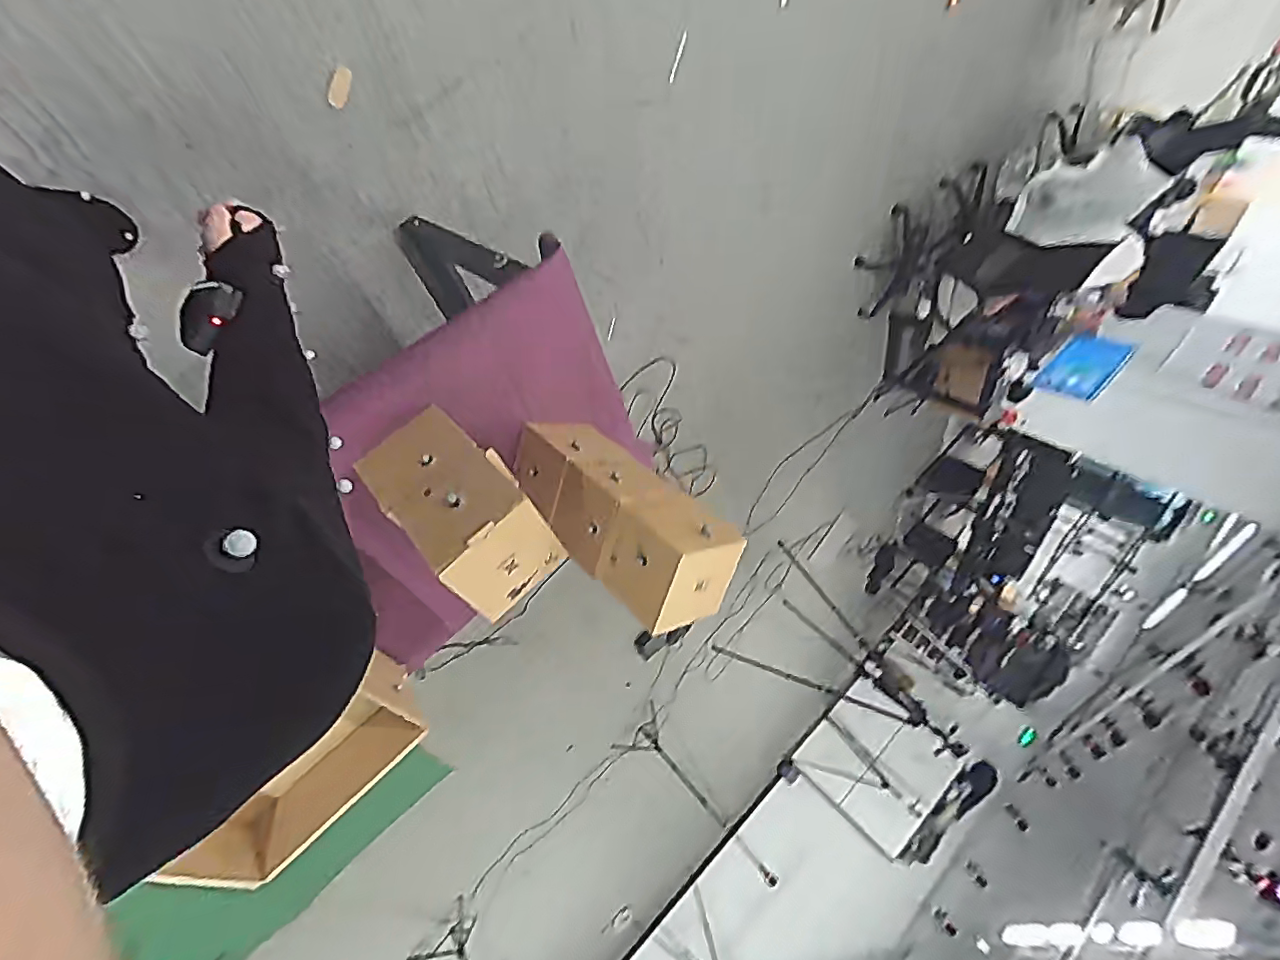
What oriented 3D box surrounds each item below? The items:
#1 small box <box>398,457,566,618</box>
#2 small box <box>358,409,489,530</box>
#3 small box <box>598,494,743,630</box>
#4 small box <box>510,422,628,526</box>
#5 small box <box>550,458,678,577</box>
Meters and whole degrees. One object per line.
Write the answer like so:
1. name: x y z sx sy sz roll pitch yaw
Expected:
1. small box: -0.256 0.085 0.879 0.168 0.176 0.179 -42 142 -15
2. small box: -0.364 0.003 0.971 0.179 0.176 0.168 -43 143 -14
3. small box: 0.049 0.139 0.985 0.179 0.176 0.168 -6 122 -44
4. small box: -0.161 -0.018 1.176 0.179 0.176 0.168 -4 122 -45
5. small box: -0.059 0.065 1.080 0.168 0.176 0.179 -3 121 -44
